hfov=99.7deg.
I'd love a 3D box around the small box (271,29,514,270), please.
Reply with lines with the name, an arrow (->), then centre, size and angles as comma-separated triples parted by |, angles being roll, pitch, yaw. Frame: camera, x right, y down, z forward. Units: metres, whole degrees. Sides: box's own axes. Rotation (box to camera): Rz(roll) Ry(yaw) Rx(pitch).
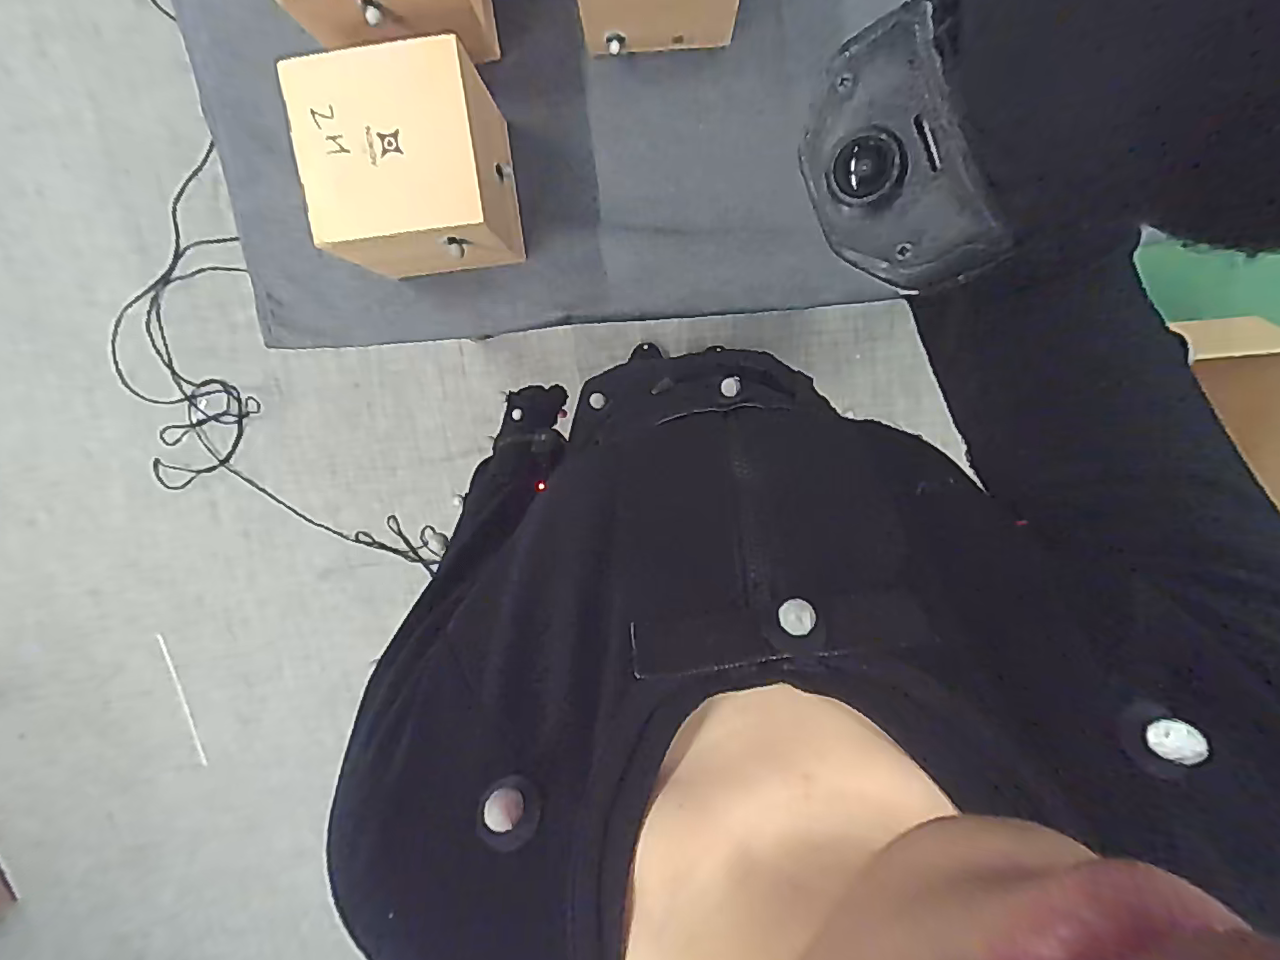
small box -> -0.244, -0.337, 0.586 | 0.179, 0.176, 0.168 | -6, 100, 3

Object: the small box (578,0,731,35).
small box -> 0.011, -0.573, 0.526 | 0.168, 0.176, 0.179 | -2, 101, 3

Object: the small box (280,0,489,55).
small box -> -0.265, -0.556, 0.545 | 0.179, 0.176, 0.168 | -7, 102, 5
